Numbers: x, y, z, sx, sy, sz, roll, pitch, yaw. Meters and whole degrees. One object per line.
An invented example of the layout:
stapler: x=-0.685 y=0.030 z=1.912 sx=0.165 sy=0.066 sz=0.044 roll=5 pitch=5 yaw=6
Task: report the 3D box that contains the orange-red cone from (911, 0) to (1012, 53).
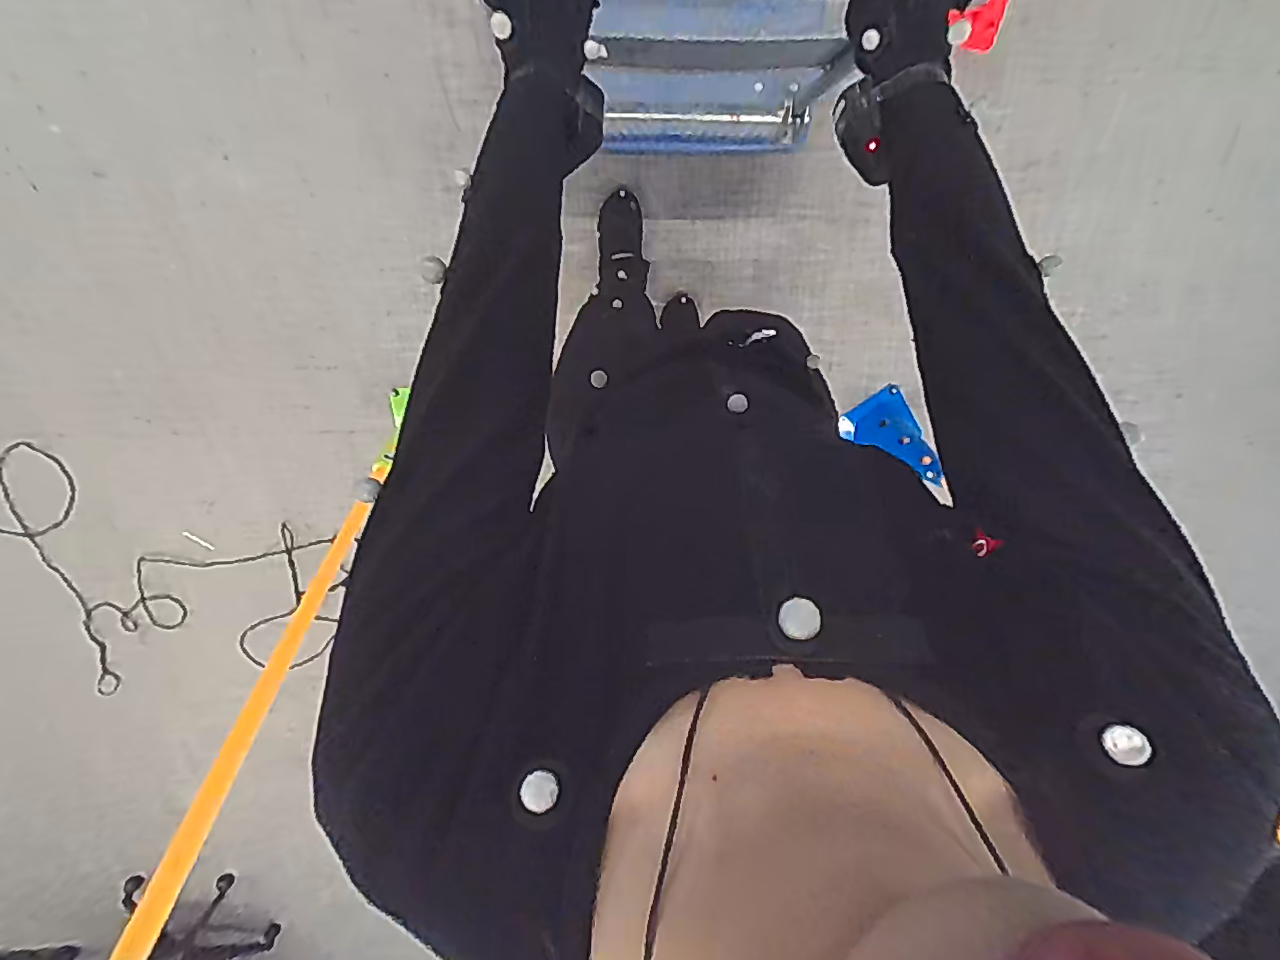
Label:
orange-red cone: x=0.692 y=-0.965 z=0.979 sx=0.198 sy=0.360 sz=0.199 roll=10 pitch=113 yaw=-5
